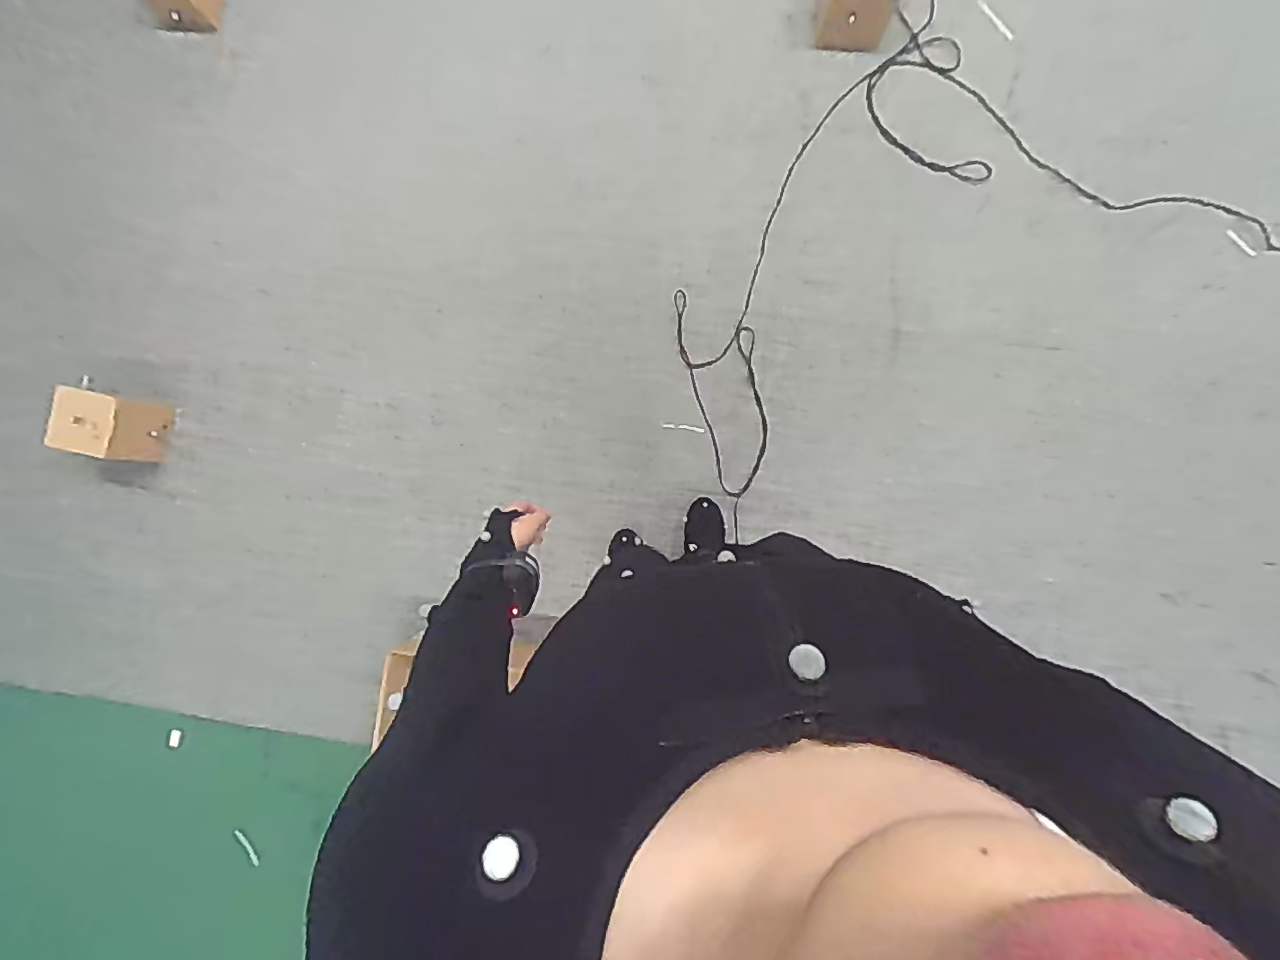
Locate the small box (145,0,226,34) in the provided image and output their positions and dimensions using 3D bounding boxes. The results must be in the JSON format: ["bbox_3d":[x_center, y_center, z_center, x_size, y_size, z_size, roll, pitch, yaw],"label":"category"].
[{"bbox_3d":[-1.302,-1.411,1.514,0.168,0.176,0.179,8,90,3],"label":"small box"}]

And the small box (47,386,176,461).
[{"bbox_3d":[-1.448,-0.148,1.490,0.179,0.176,0.168,13,90,3],"label":"small box"}]

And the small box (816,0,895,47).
[{"bbox_3d":[0.567,-1.274,1.407,0.179,0.176,0.168,5,90,4],"label":"small box"}]
